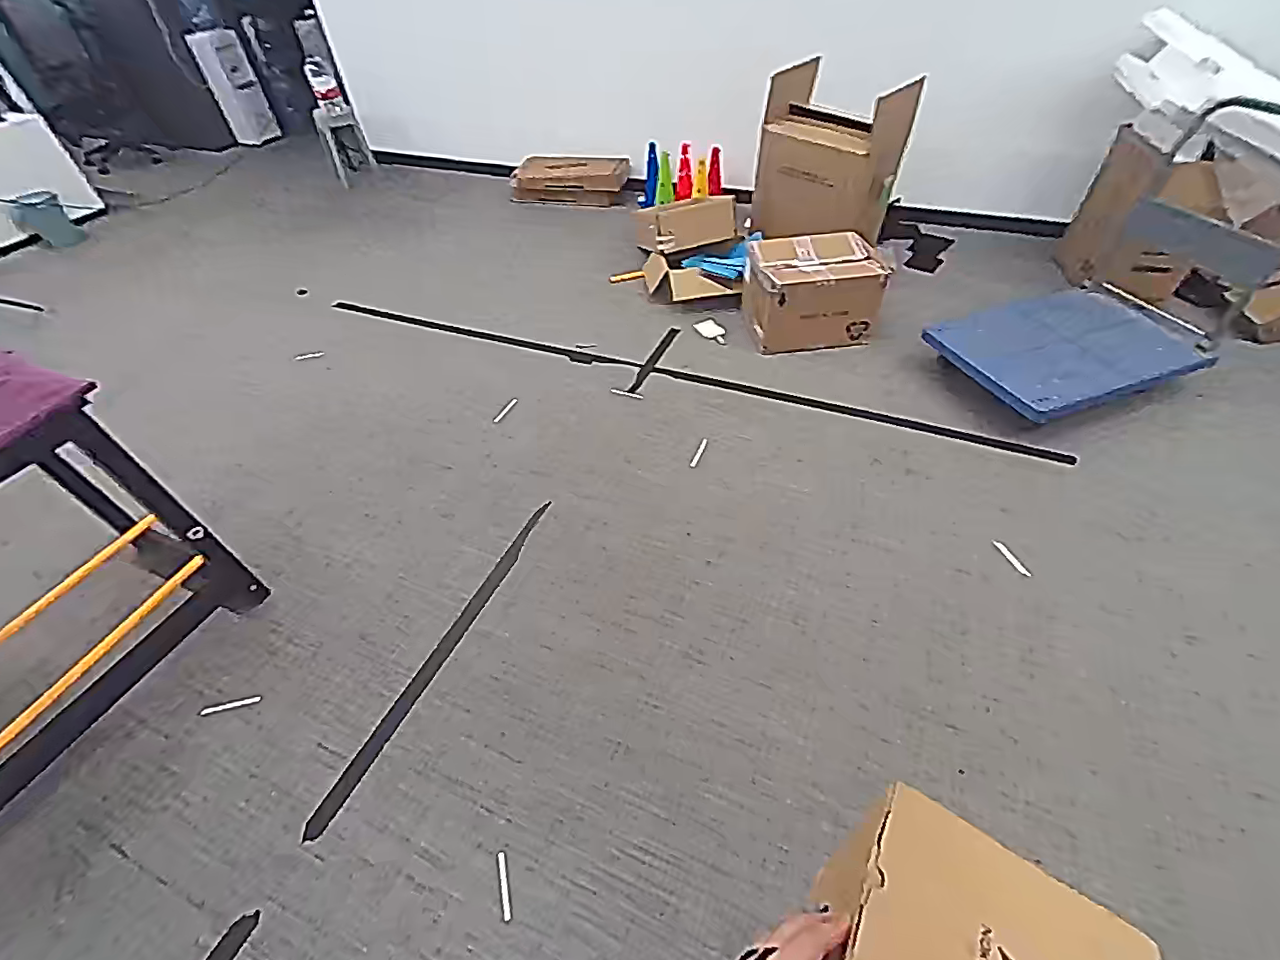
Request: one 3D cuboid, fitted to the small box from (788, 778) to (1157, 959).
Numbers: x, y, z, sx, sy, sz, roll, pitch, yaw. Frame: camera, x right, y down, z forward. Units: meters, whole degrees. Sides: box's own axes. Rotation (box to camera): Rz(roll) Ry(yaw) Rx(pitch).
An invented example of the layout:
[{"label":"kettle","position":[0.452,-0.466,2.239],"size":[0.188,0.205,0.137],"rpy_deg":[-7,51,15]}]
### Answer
[{"label":"small box","position":[0.209,0.363,0.372],"size":[0.179,0.176,0.168],"rpy_deg":[26,36,24]}]
